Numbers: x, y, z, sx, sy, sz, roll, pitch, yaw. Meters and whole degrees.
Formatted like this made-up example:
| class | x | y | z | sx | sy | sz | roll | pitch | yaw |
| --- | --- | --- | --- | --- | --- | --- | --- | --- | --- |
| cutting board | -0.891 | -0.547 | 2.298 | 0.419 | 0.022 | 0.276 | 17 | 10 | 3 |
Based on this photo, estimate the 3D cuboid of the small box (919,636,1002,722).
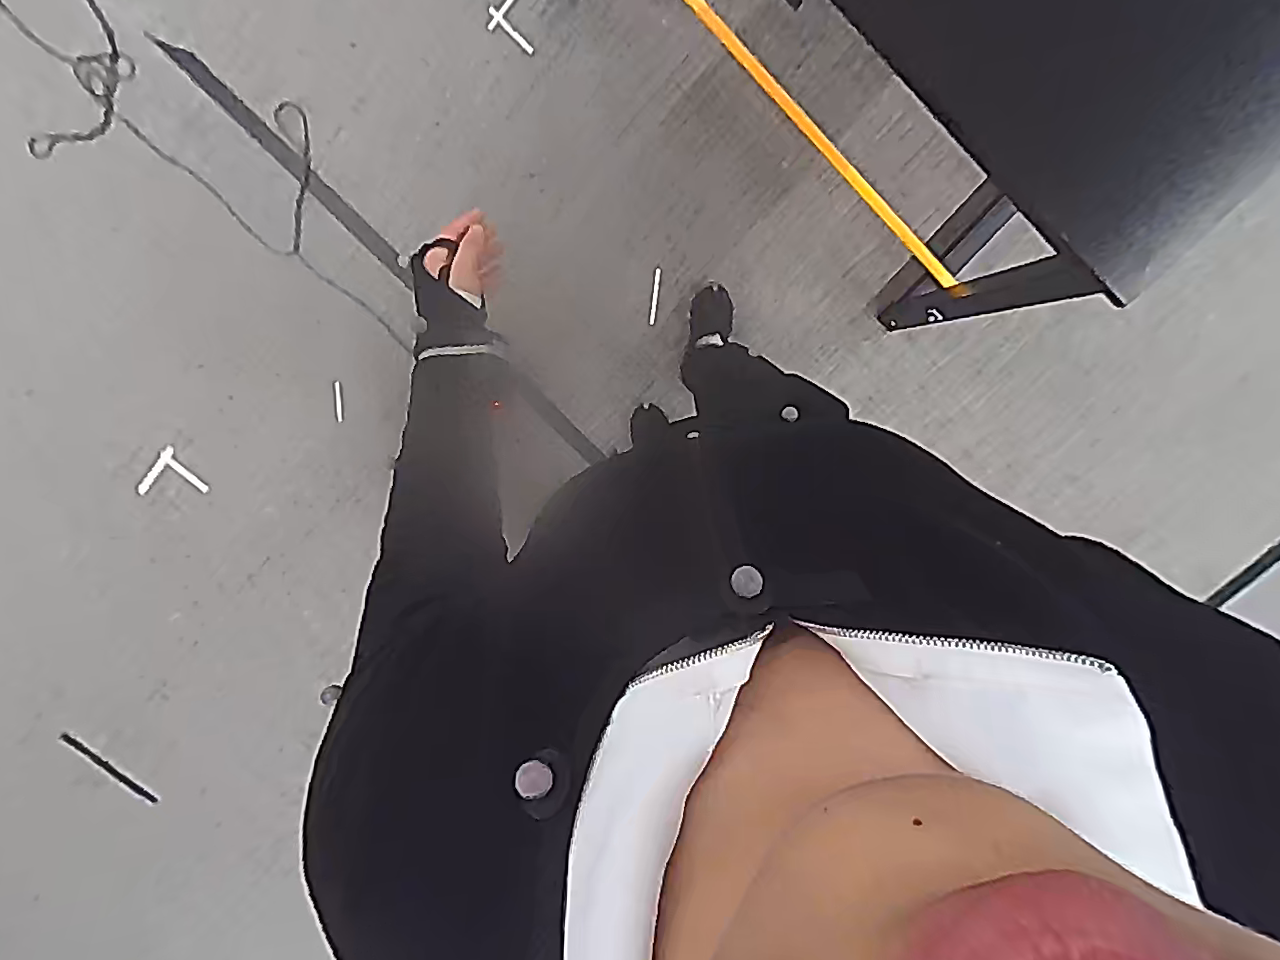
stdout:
| class | x | y | z | sx | sy | sz | roll | pitch | yaw |
| --- | --- | --- | --- | --- | --- | --- | --- | --- | --- |
| small box | 0.919 | 0.578 | 1.517 | 0.168 | 0.176 | 0.179 | 41 | 99 | -7 |
